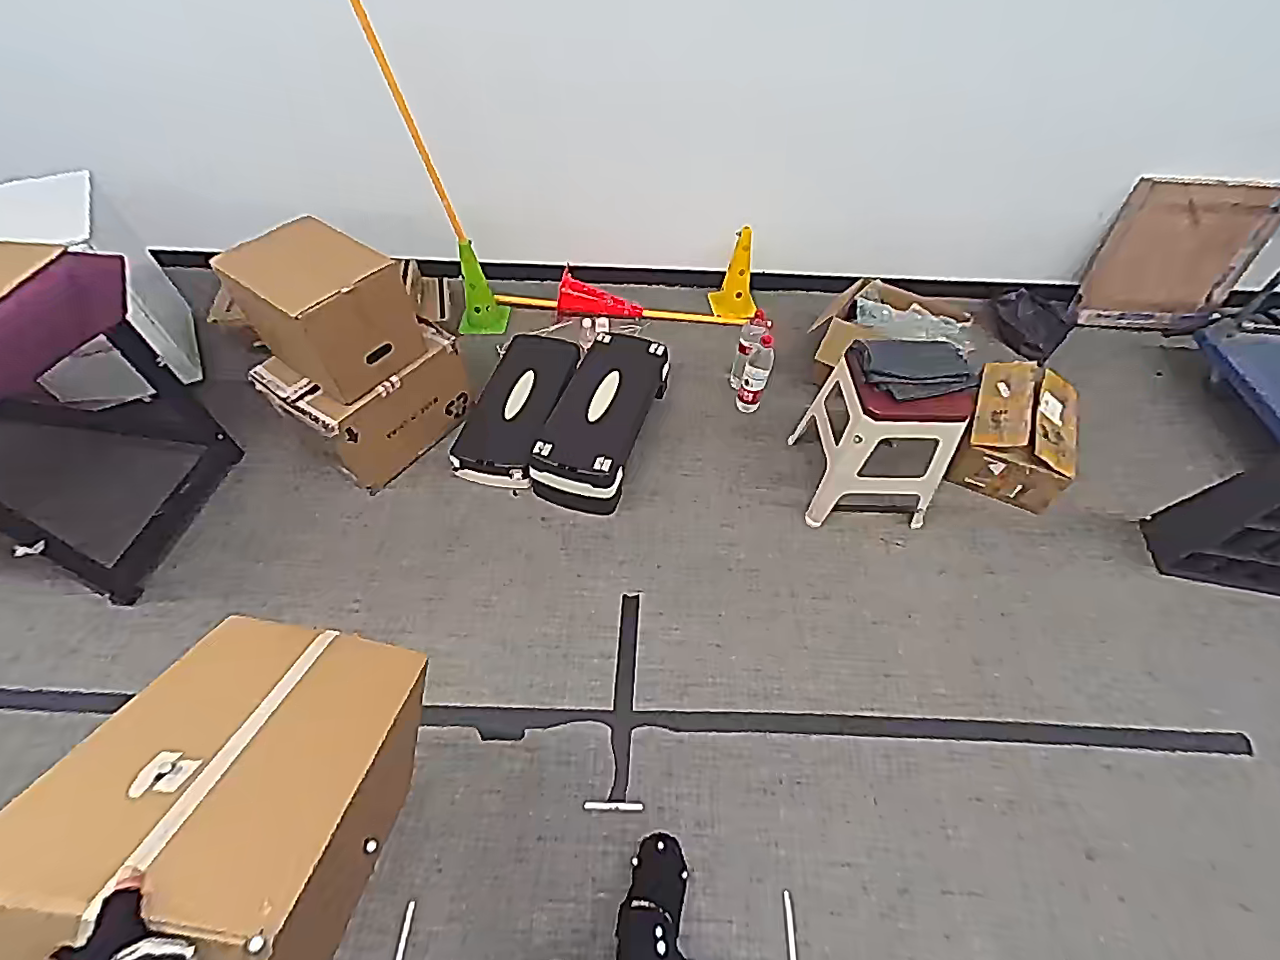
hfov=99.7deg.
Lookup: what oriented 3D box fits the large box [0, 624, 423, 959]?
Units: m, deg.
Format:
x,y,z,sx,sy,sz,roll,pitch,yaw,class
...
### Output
x,y,z,sx,sy,sz,roll,pitch,yaw,class
-0.539,0.471,0.743,0.320,0.320,0.408,14,21,-5,large box
